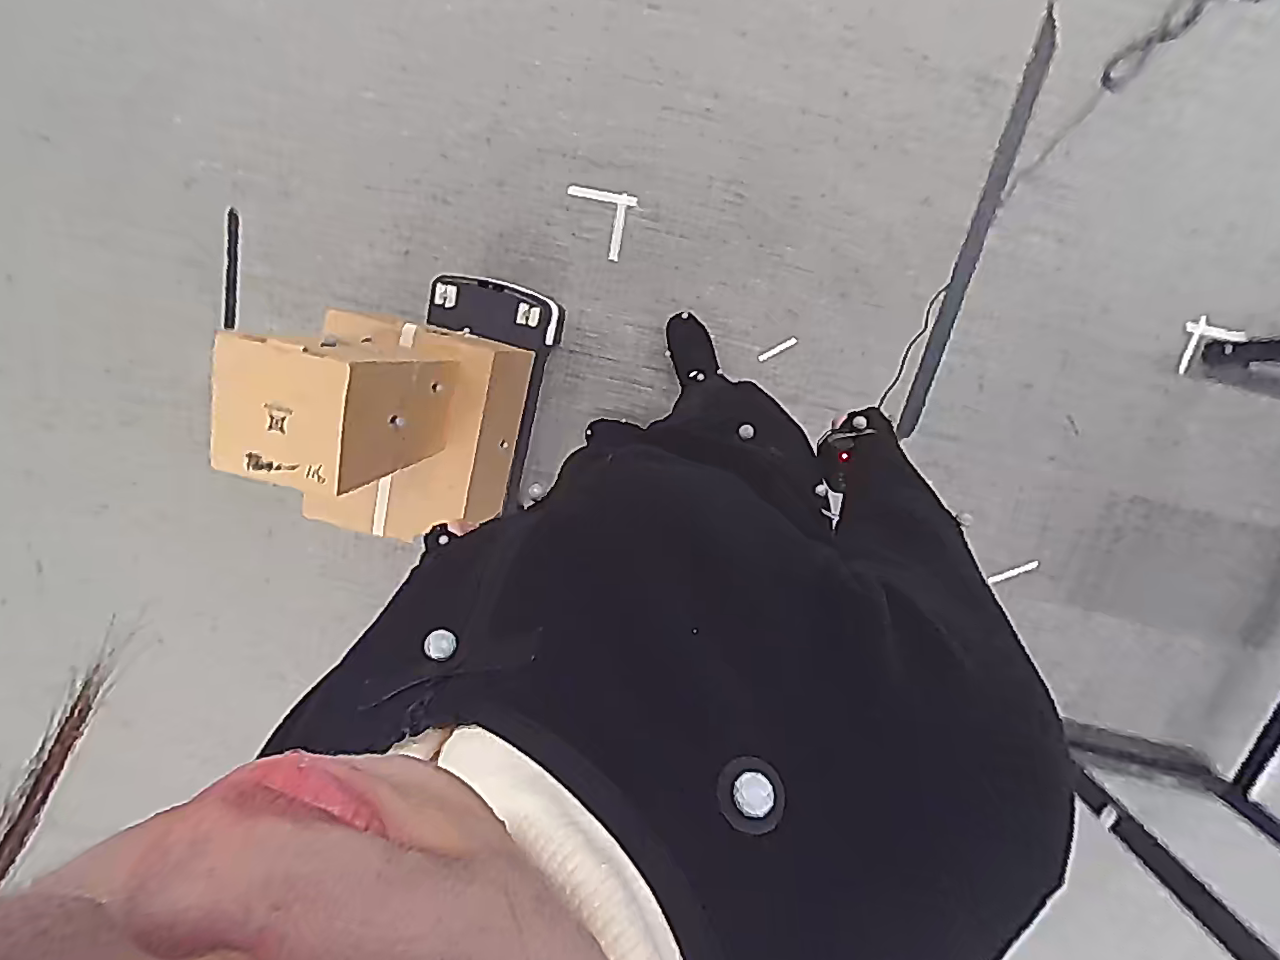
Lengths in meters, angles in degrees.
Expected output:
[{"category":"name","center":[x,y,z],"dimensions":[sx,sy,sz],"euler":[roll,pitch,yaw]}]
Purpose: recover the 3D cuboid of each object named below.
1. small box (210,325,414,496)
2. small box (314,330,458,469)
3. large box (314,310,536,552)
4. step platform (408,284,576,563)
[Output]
[{"category":"small box","center":[-0.428,-0.097,0.729],"dimensions":[0.168,0.176,0.179],"euler":[14,102,0]},{"category":"small box","center":[-0.416,-0.136,0.888],"dimensions":[0.168,0.176,0.179],"euler":[15,103,0]},{"category":"large box","center":[-0.433,-0.117,1.144],"dimensions":[0.320,0.320,0.408],"euler":[15,104,1]},{"category":"step platform","center":[-0.402,-0.135,1.383],"dimensions":[0.286,0.204,0.684],"euler":[19,104,-1]}]
